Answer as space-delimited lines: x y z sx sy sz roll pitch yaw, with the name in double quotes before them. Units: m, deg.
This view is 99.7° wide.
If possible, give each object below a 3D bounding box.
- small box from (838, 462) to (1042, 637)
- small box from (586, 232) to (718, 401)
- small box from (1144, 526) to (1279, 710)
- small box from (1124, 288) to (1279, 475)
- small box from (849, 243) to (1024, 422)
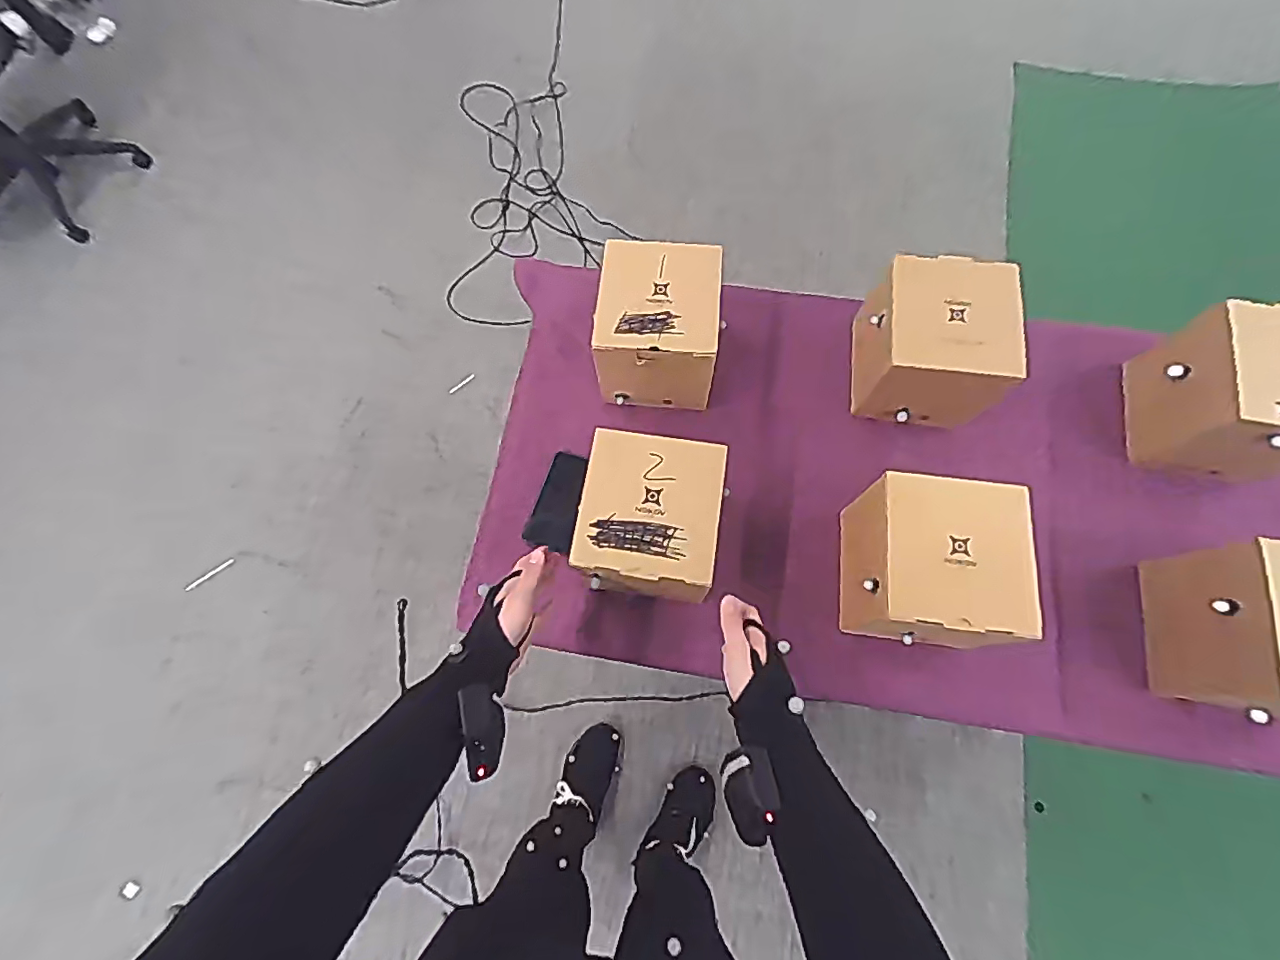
"small box" 0.357 0.095 0.679 0.168 0.176 0.179 6 72 4
"small box" 0.021 -0.231 0.794 0.168 0.176 0.179 4 71 3
"small box" 0.749 0.170 0.637 0.168 0.176 0.179 10 73 6
"small box" 0.810 -0.126 0.735 0.168 0.176 0.179 10 72 6
"small box" 0.409 -0.204 0.774 0.168 0.176 0.179 7 73 5
